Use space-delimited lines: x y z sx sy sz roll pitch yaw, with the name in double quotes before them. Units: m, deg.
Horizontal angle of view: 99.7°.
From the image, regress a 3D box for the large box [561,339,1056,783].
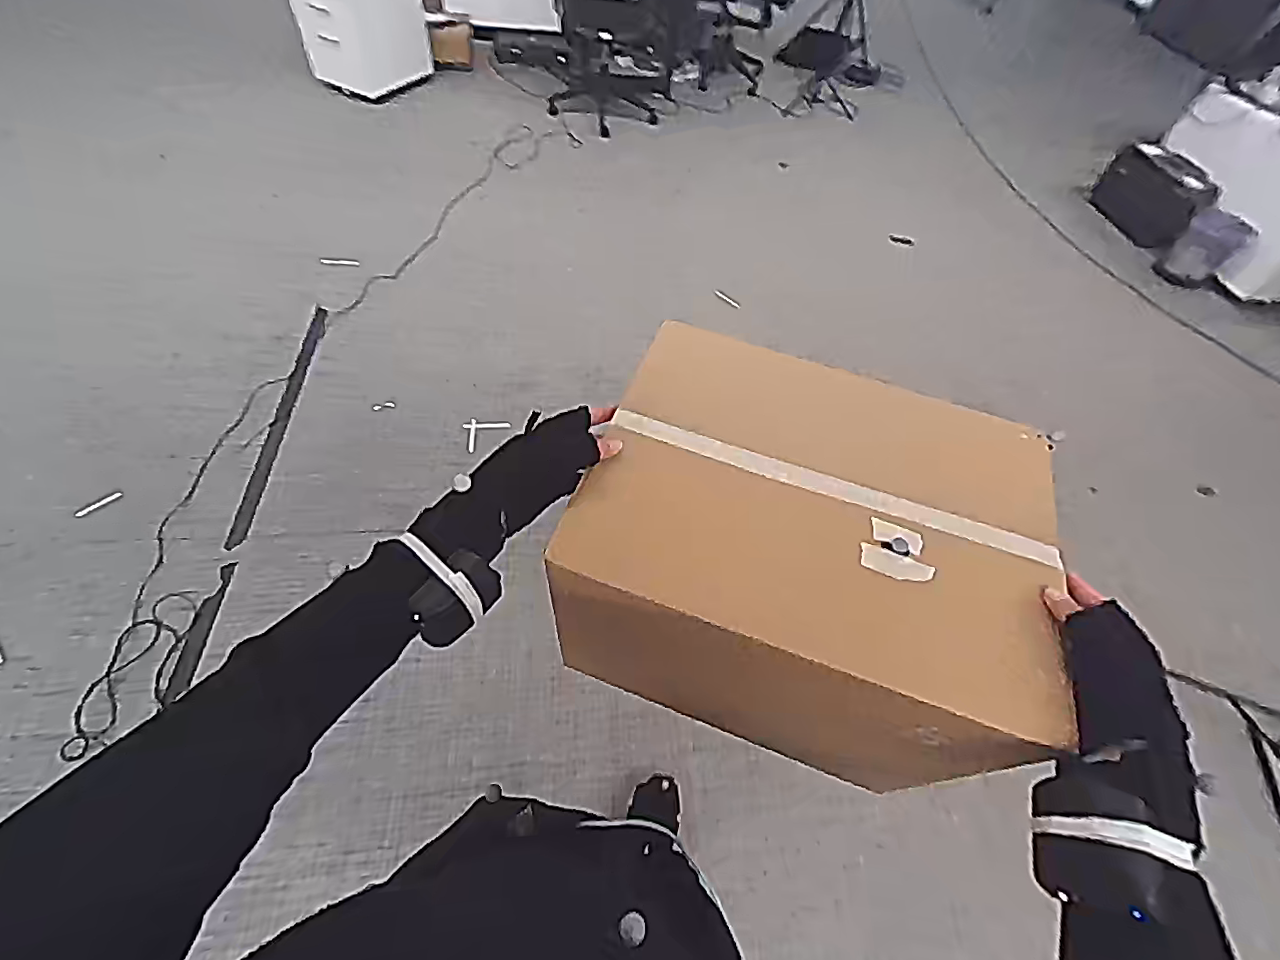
"large box" 0.154 0.100 0.622 0.408 0.320 0.320 19 57 7
